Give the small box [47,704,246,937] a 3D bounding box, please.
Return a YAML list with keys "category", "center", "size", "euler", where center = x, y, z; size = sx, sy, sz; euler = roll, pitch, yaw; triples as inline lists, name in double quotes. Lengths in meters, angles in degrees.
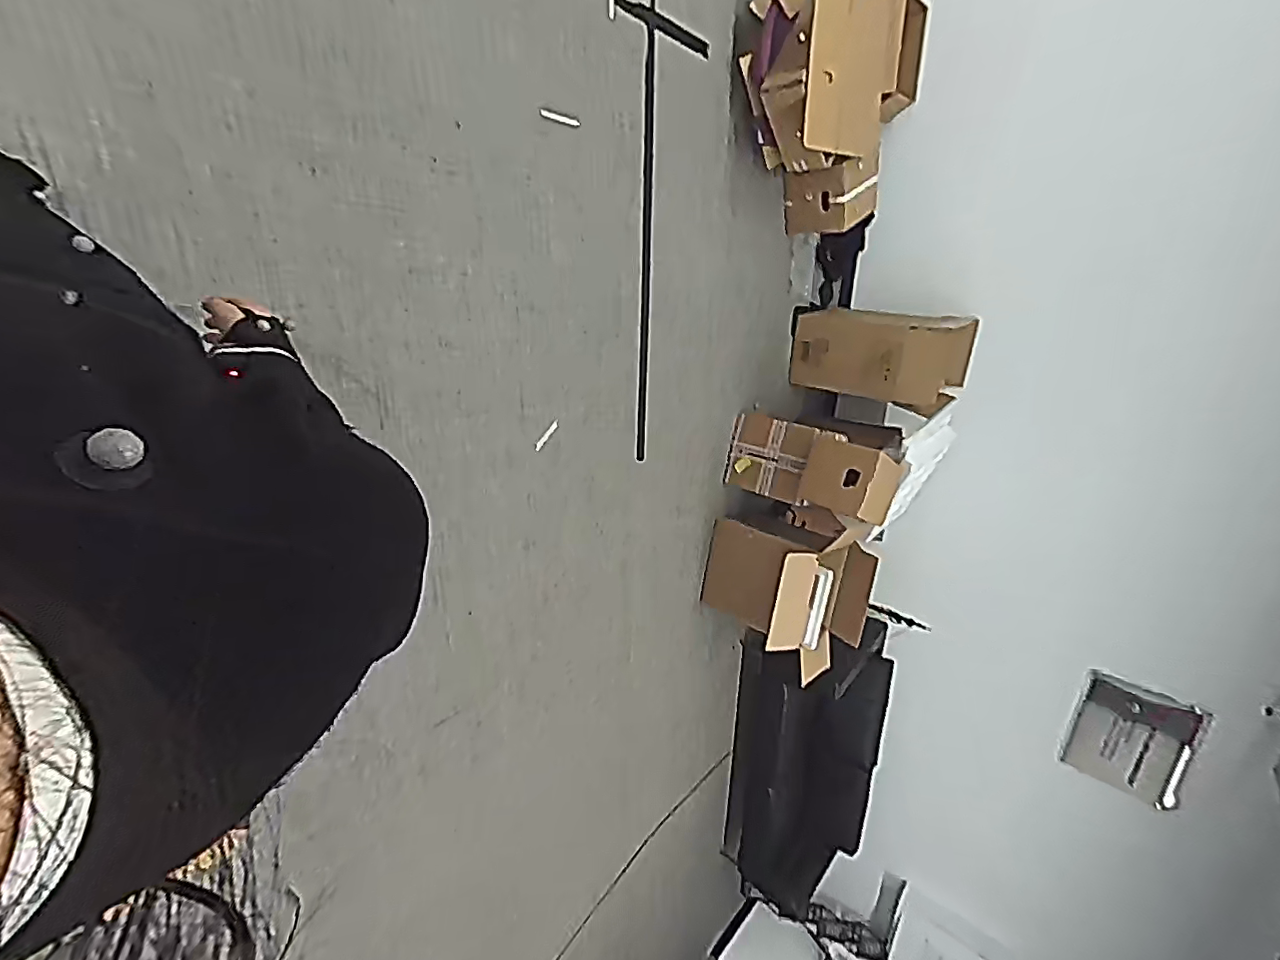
- category: "small box"
  center: [-0.660, 0.432, 0.727]
  size: [0.168, 0.176, 0.179]
  euler: [-13, 114, -47]
